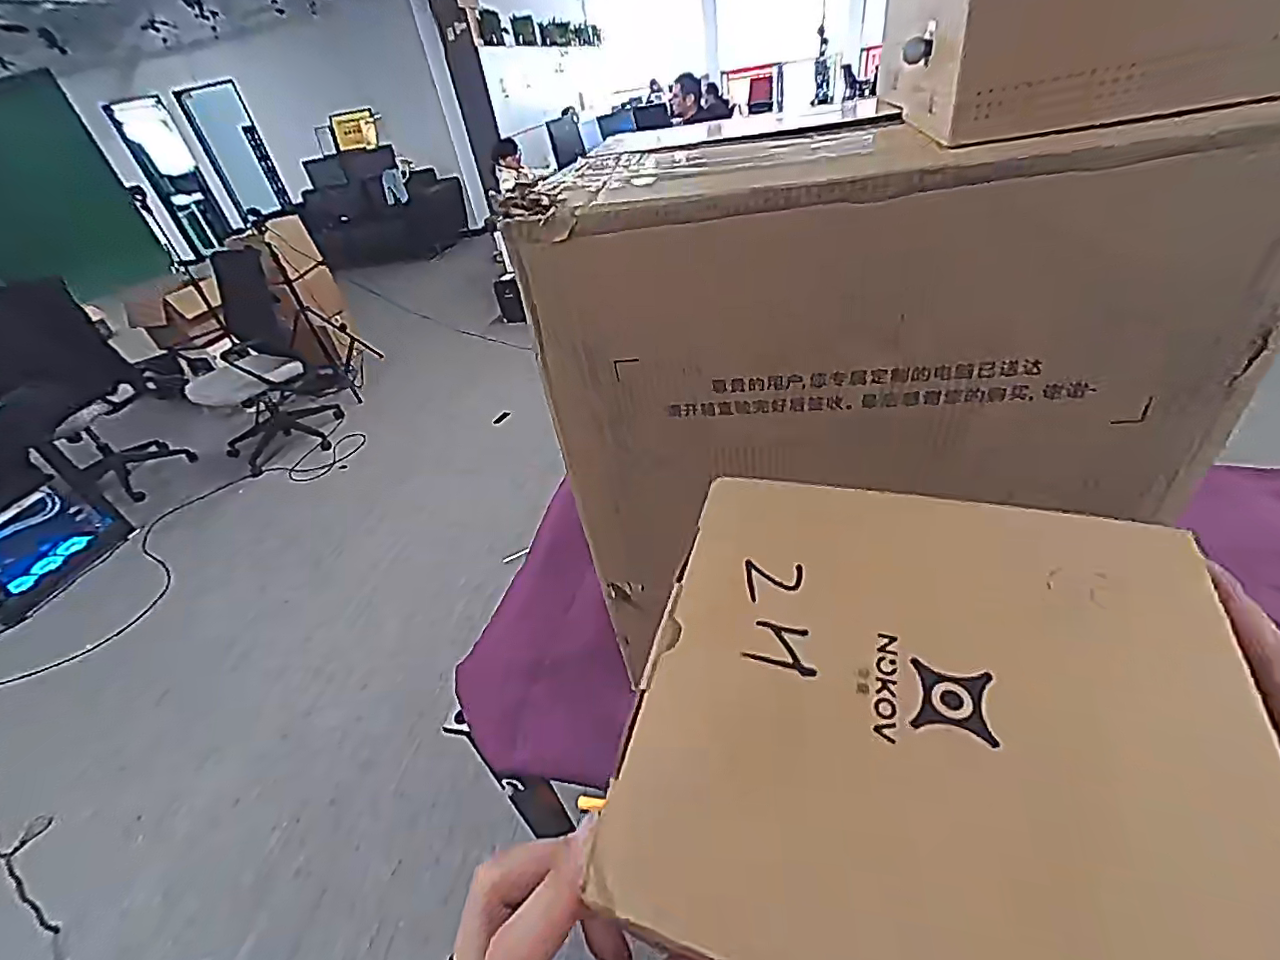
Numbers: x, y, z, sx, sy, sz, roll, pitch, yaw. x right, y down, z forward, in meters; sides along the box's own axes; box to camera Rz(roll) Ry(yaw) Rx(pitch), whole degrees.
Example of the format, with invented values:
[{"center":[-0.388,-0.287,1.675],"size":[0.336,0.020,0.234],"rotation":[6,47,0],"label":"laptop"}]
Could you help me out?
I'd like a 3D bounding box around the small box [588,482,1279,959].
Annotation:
[{"center":[0.105,0.126,0.224],"size":[0.179,0.176,0.168],"rotation":[8,48,20],"label":"small box"}]
